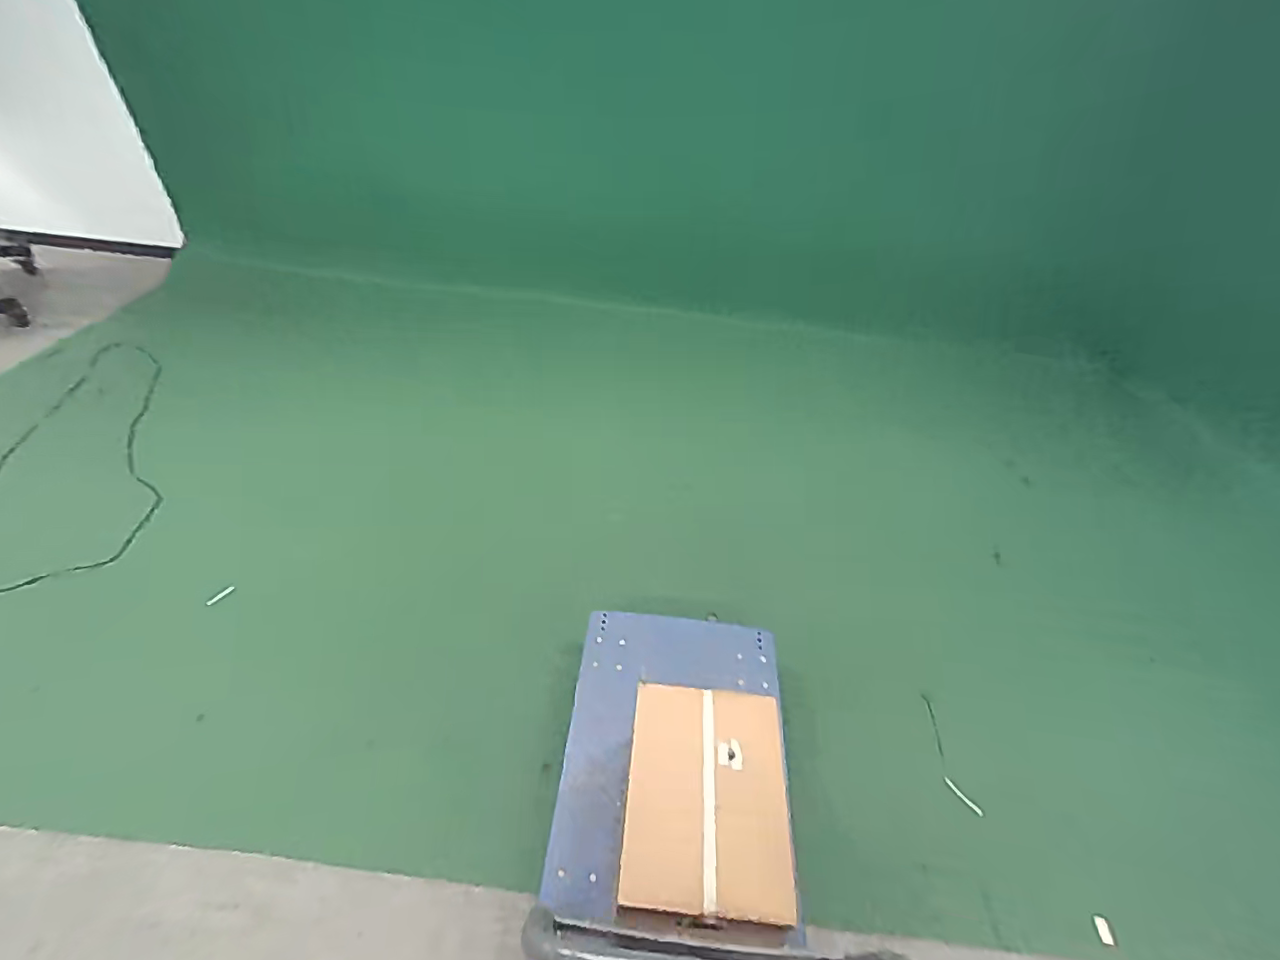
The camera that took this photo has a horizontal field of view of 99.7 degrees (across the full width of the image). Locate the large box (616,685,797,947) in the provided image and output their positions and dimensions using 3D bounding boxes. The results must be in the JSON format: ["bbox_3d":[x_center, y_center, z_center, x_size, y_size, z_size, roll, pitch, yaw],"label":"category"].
[{"bbox_3d":[0.120,0.719,1.169,0.320,0.320,0.408,7,42,0],"label":"large box"}]
